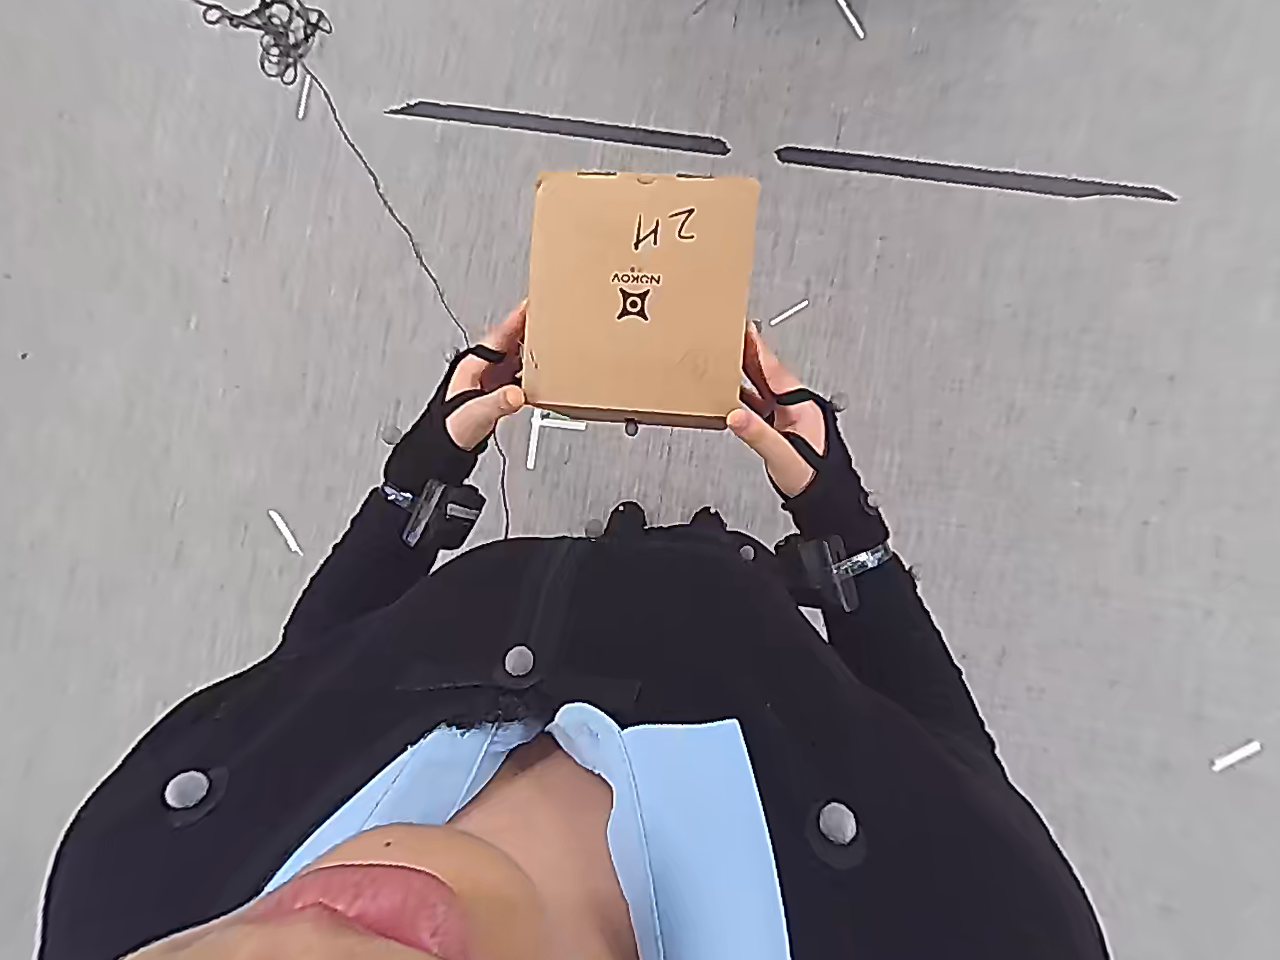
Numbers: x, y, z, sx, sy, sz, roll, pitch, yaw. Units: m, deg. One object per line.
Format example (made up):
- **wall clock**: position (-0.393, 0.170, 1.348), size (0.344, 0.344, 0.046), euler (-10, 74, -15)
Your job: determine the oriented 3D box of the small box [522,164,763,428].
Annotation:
- **small box**: position (0.007, -0.141, 0.472), size (0.168, 0.176, 0.179), euler (5, 92, 5)
